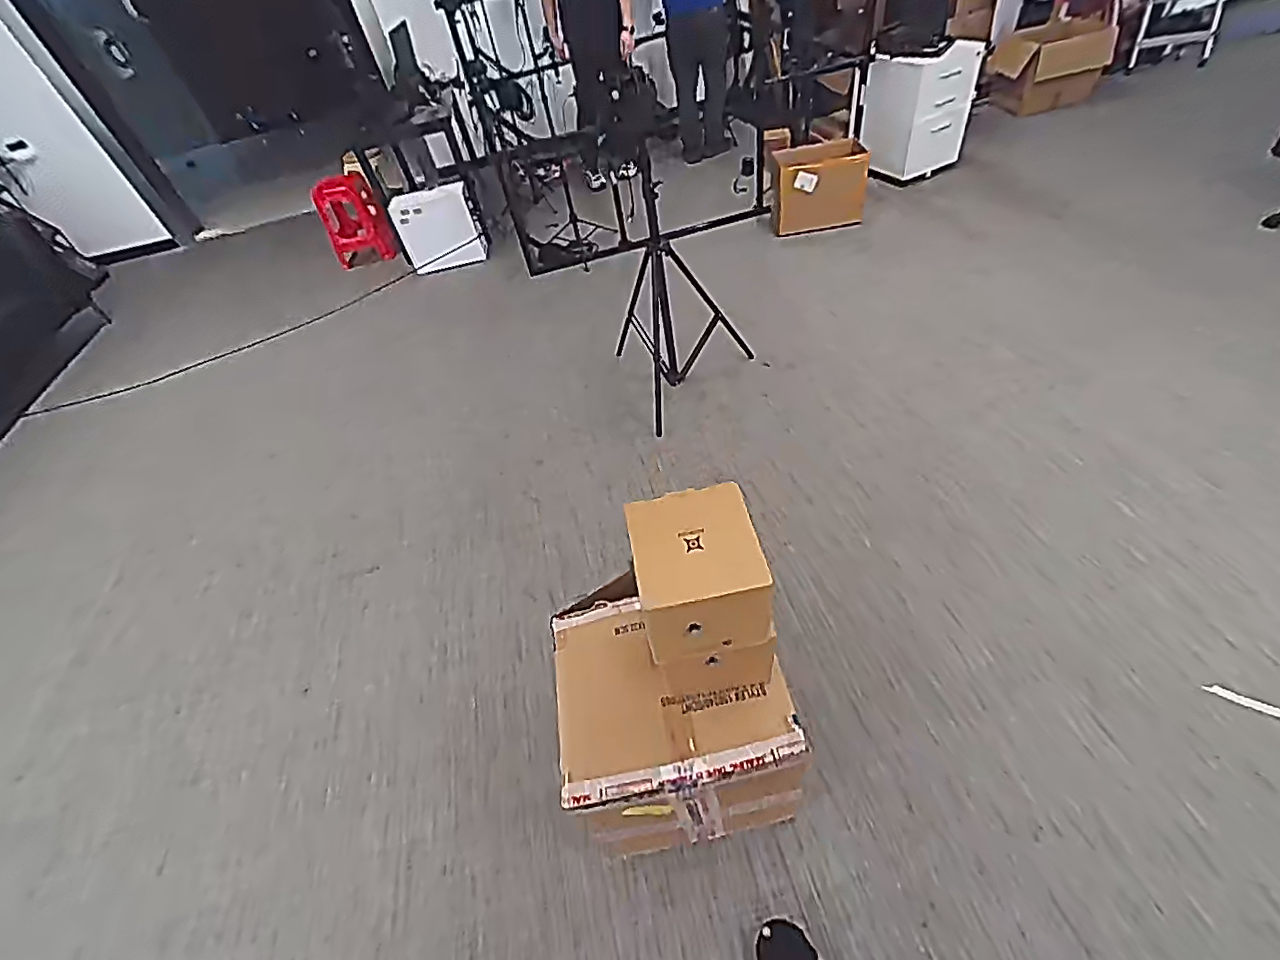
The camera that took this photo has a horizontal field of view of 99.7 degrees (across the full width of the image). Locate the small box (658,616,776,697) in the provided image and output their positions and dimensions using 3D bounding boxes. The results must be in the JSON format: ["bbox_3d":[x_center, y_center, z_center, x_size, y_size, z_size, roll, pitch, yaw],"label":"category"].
[{"bbox_3d":[0.116,0.240,0.890,0.179,0.176,0.168,-10,48,1],"label":"small box"}]

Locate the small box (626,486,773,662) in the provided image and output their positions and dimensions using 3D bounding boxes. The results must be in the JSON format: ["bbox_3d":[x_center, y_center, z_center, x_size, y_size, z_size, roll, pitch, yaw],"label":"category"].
[{"bbox_3d":[0.084,0.140,0.765,0.168,0.176,0.179,-12,47,0],"label":"small box"}]
